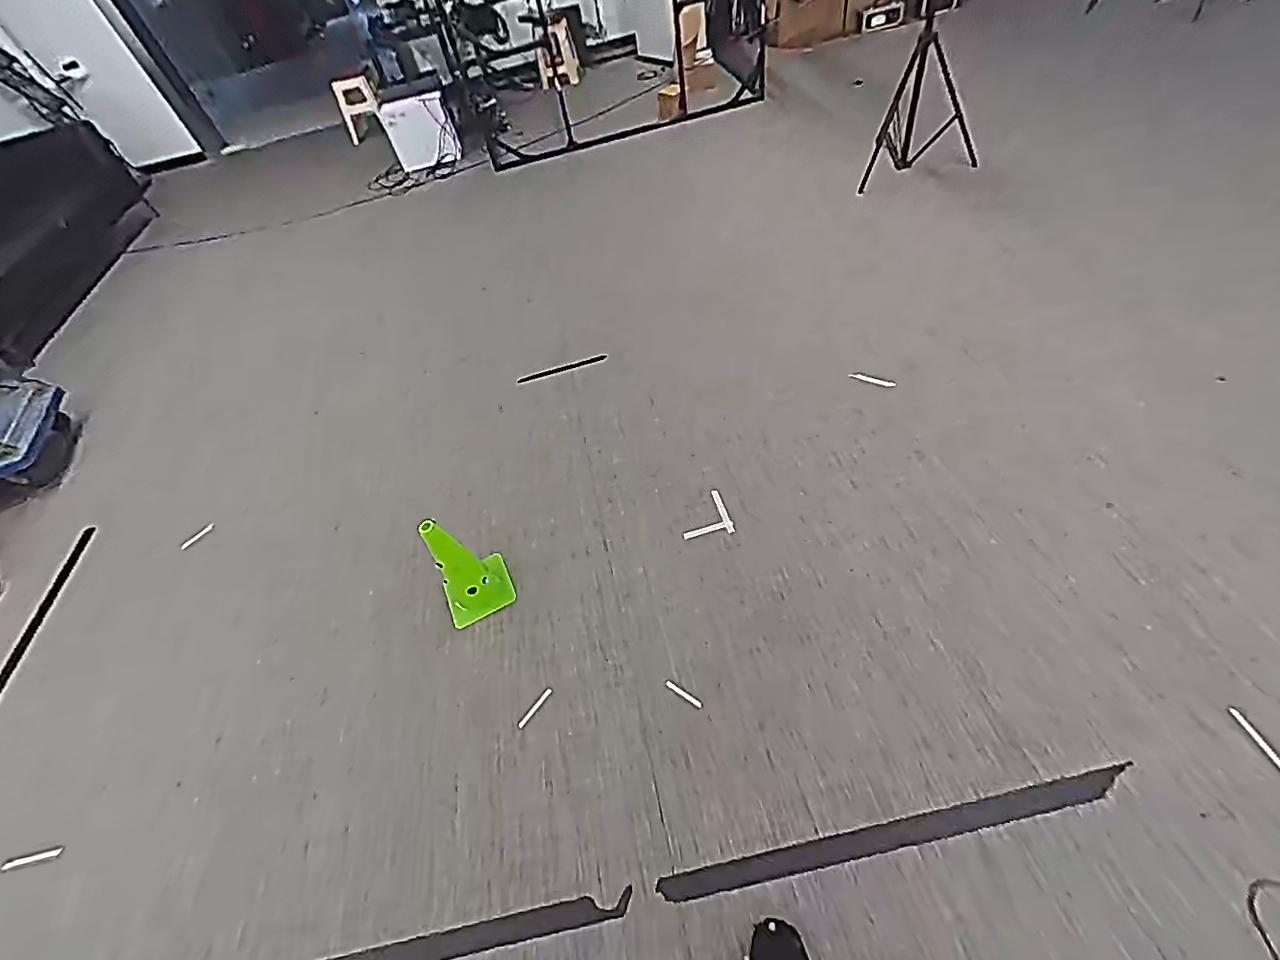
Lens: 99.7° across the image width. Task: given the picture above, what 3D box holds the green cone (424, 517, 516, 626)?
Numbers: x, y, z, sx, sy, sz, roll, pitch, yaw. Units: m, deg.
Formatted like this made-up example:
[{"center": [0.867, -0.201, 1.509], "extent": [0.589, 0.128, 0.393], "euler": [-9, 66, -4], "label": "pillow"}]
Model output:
[{"center": [-0.528, 0.231, 1.558], "extent": [0.202, 0.368, 0.200], "euler": [-26, 51, -11], "label": "green cone"}]
